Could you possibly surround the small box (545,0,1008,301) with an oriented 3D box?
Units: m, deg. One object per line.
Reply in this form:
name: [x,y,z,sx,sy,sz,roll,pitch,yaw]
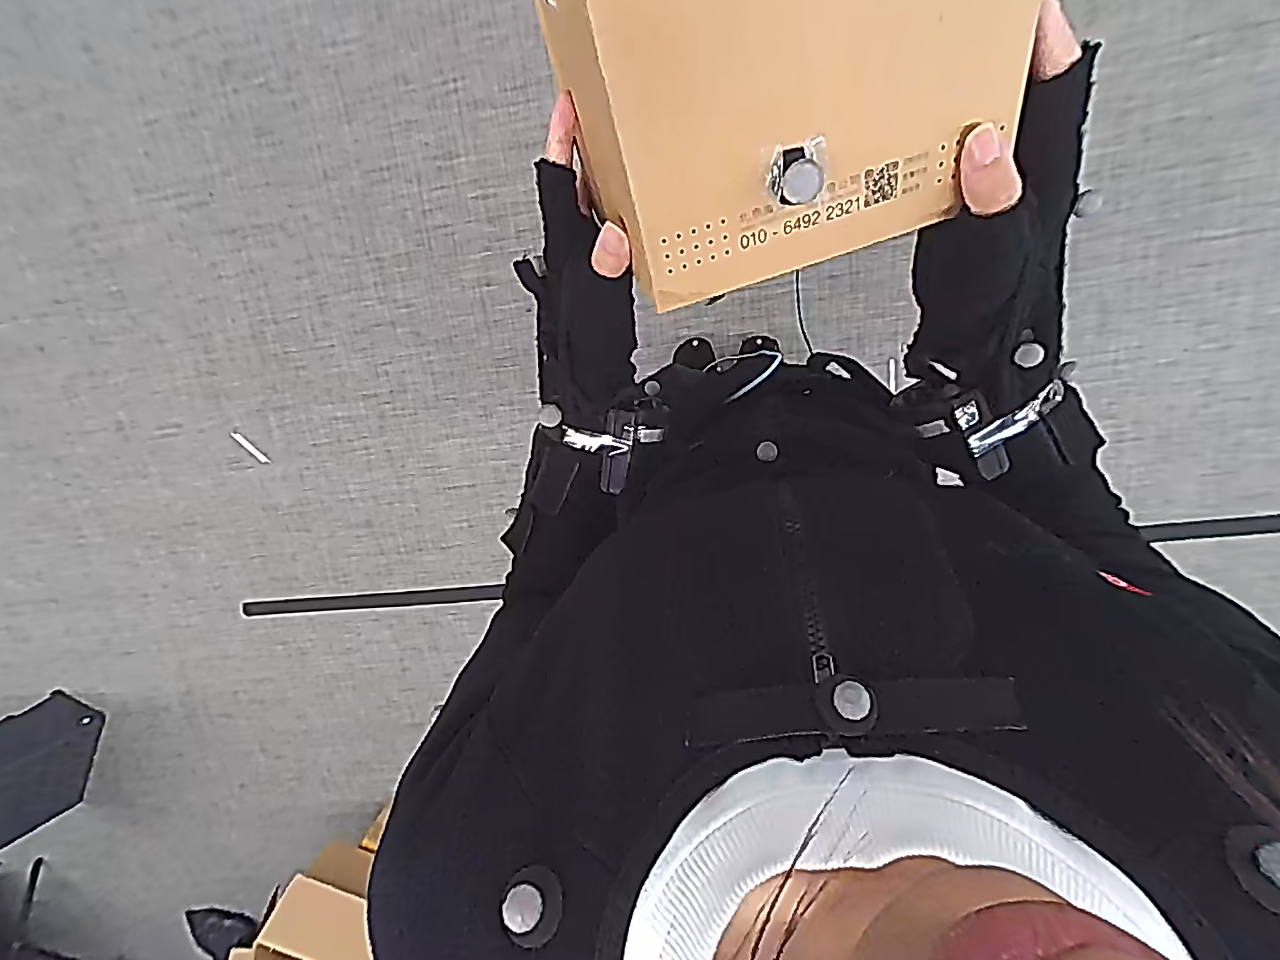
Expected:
small box: [0.049,-0.214,0.270,0.168,0.179,0.176,-19,131,0]
